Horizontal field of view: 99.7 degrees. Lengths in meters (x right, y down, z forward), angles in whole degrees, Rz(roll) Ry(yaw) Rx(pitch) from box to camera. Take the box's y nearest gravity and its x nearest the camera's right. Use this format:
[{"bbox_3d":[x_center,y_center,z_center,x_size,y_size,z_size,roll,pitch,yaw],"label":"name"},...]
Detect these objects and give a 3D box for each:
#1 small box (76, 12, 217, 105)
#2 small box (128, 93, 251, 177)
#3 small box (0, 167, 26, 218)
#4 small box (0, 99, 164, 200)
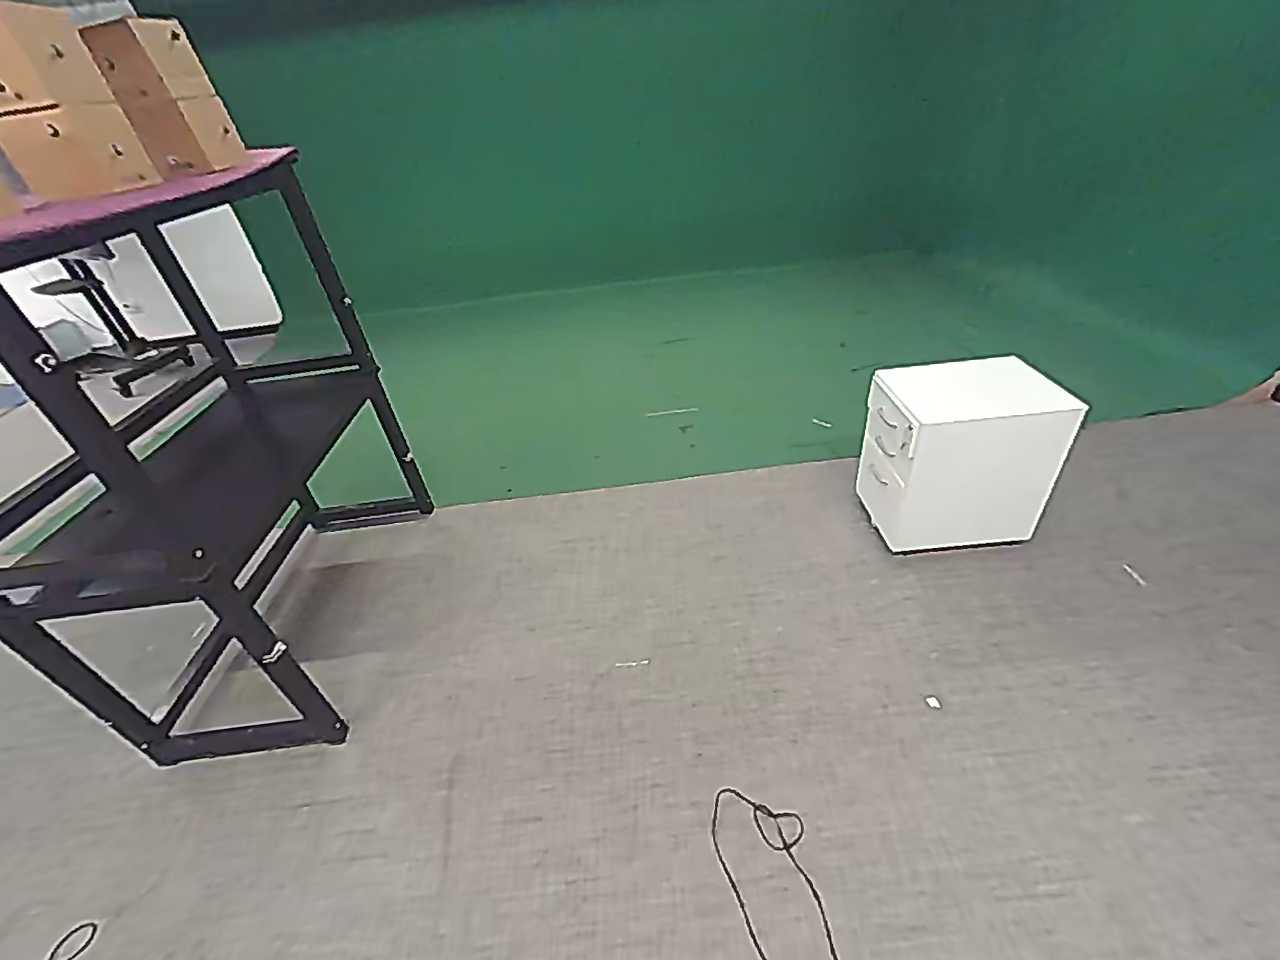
[{"bbox_3d":[-1.262,-1.082,1.401,0.168,0.176,0.179,-4,37,9],"label":"small box"},{"bbox_3d":[-1.232,-0.958,1.502,0.168,0.176,0.179,-6,39,6],"label":"small box"},{"bbox_3d":[-1.201,-0.507,0.885,0.168,0.176,0.179,-9,36,-4],"label":"small box"},{"bbox_3d":[-1.250,-0.748,1.222,0.179,0.176,0.168,-7,35,1],"label":"small box"}]
